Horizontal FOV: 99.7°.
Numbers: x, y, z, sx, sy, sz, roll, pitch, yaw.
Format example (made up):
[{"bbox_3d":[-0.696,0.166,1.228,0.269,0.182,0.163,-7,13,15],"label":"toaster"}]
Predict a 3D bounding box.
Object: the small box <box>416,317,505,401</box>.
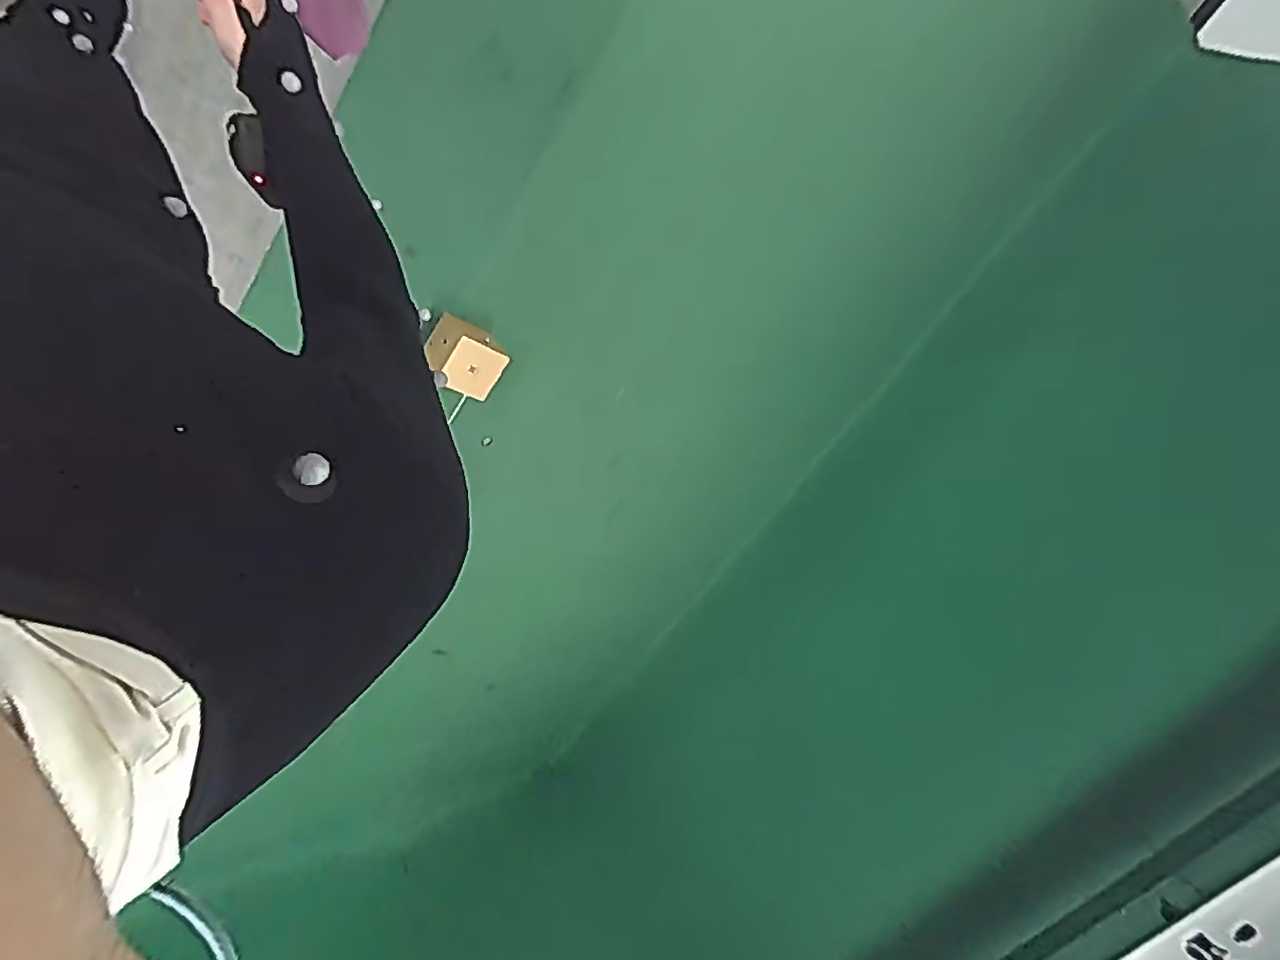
[{"bbox_3d":[-0.555,-0.376,1.658,0.179,0.176,0.168,19,113,-52],"label":"small box"}]
